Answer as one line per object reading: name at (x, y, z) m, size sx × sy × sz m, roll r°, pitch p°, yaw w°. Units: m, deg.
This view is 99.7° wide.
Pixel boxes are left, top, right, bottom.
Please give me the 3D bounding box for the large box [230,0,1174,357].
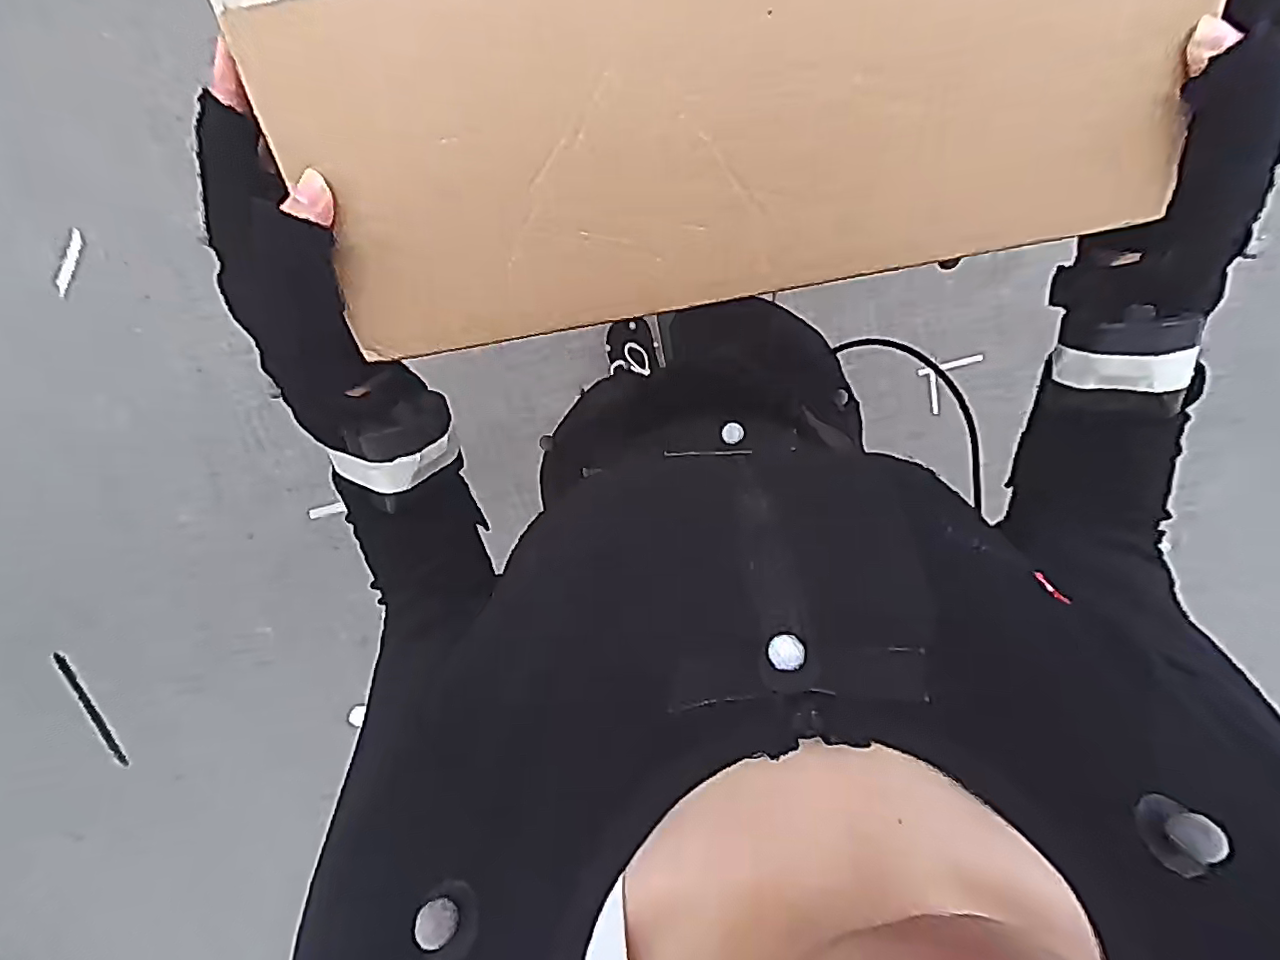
large box at (0.021, -0.304, 0.342) m, size 0.408 × 0.320 × 0.320 m, roll -9°, pitch 118°, yaw 3°
